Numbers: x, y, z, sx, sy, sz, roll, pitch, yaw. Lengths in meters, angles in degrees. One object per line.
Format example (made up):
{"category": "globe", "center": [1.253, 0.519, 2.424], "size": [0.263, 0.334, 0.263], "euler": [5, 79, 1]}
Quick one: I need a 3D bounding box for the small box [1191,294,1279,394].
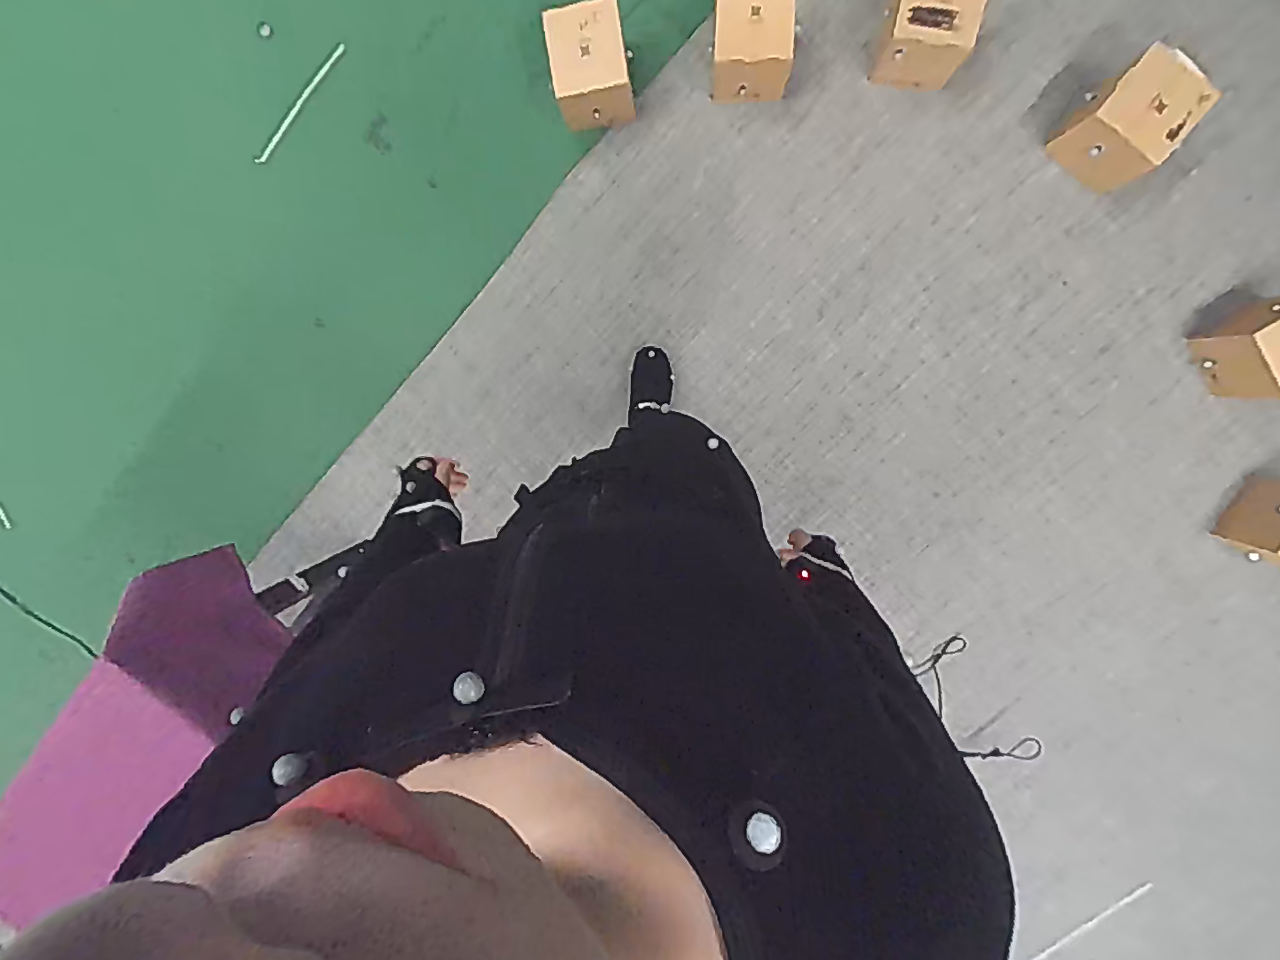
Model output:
{"category": "small box", "center": [1.420, -0.309, 1.209], "size": [0.179, 0.176, 0.168], "euler": [-31, 95, 10]}

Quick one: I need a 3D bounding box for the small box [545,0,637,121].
{"category": "small box", "center": [-0.105, -0.957, 1.240], "size": [0.168, 0.176, 0.179], "euler": [-8, 99, 6]}

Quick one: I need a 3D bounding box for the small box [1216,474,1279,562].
{"category": "small box", "center": [1.544, 0.101, 1.271], "size": [0.168, 0.176, 0.179], "euler": [26, 102, 1]}

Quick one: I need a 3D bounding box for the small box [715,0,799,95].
{"category": "small box", "center": [0.254, -0.996, 1.200], "size": [0.168, 0.176, 0.179], "euler": [2, 101, 5]}

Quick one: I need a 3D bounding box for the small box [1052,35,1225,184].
{"category": "small box", "center": [1.049, -0.778, 1.159], "size": [0.179, 0.176, 0.168], "euler": [38, 102, -1]}
